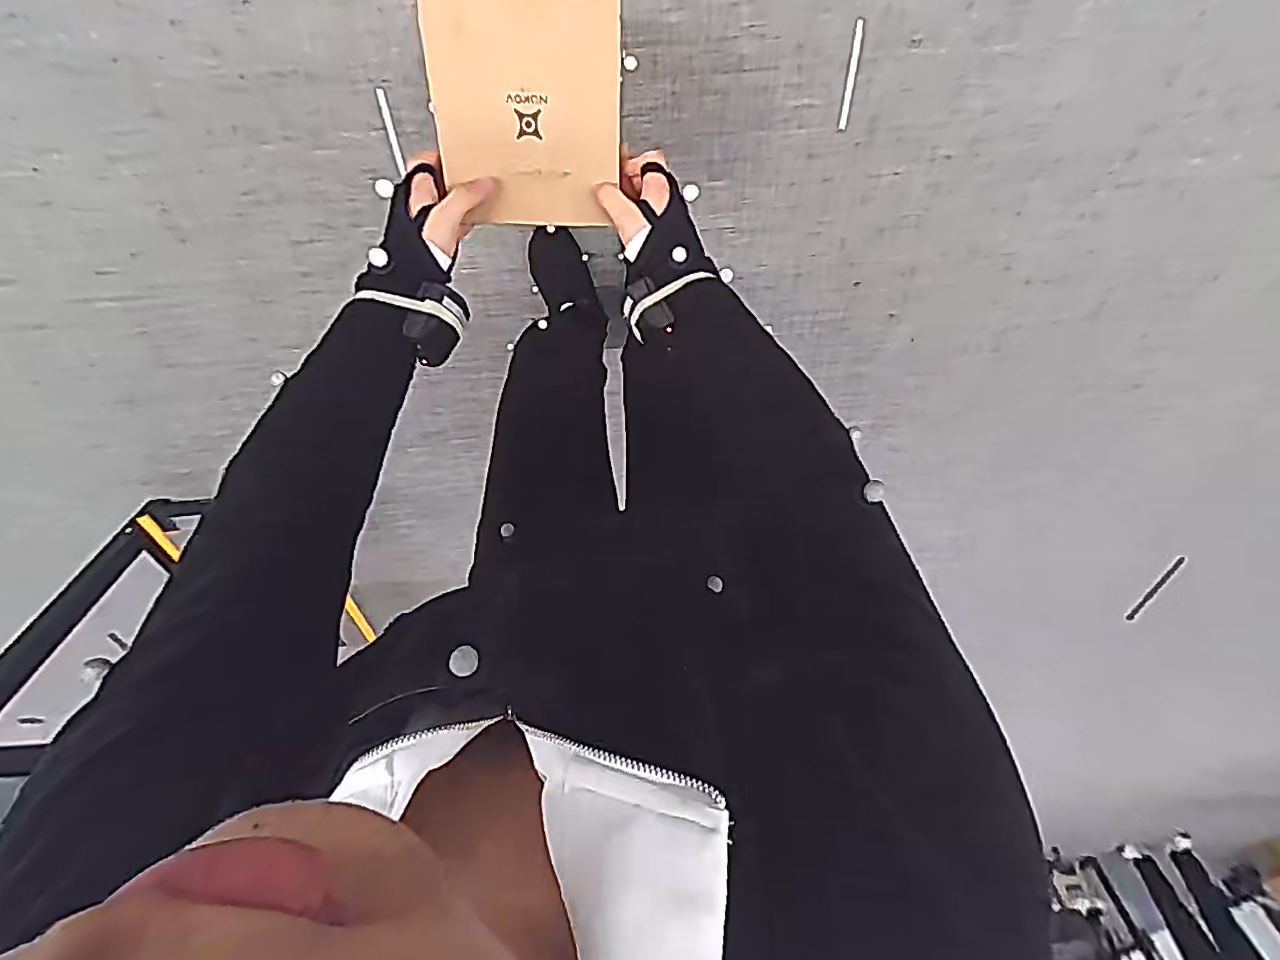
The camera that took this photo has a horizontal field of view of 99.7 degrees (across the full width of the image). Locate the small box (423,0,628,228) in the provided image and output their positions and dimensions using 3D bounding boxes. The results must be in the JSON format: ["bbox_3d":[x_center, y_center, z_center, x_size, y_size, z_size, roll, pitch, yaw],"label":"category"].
[{"bbox_3d":[-0.098,-0.366,0.542,0.168,0.176,0.179,1,127,-2],"label":"small box"}]
